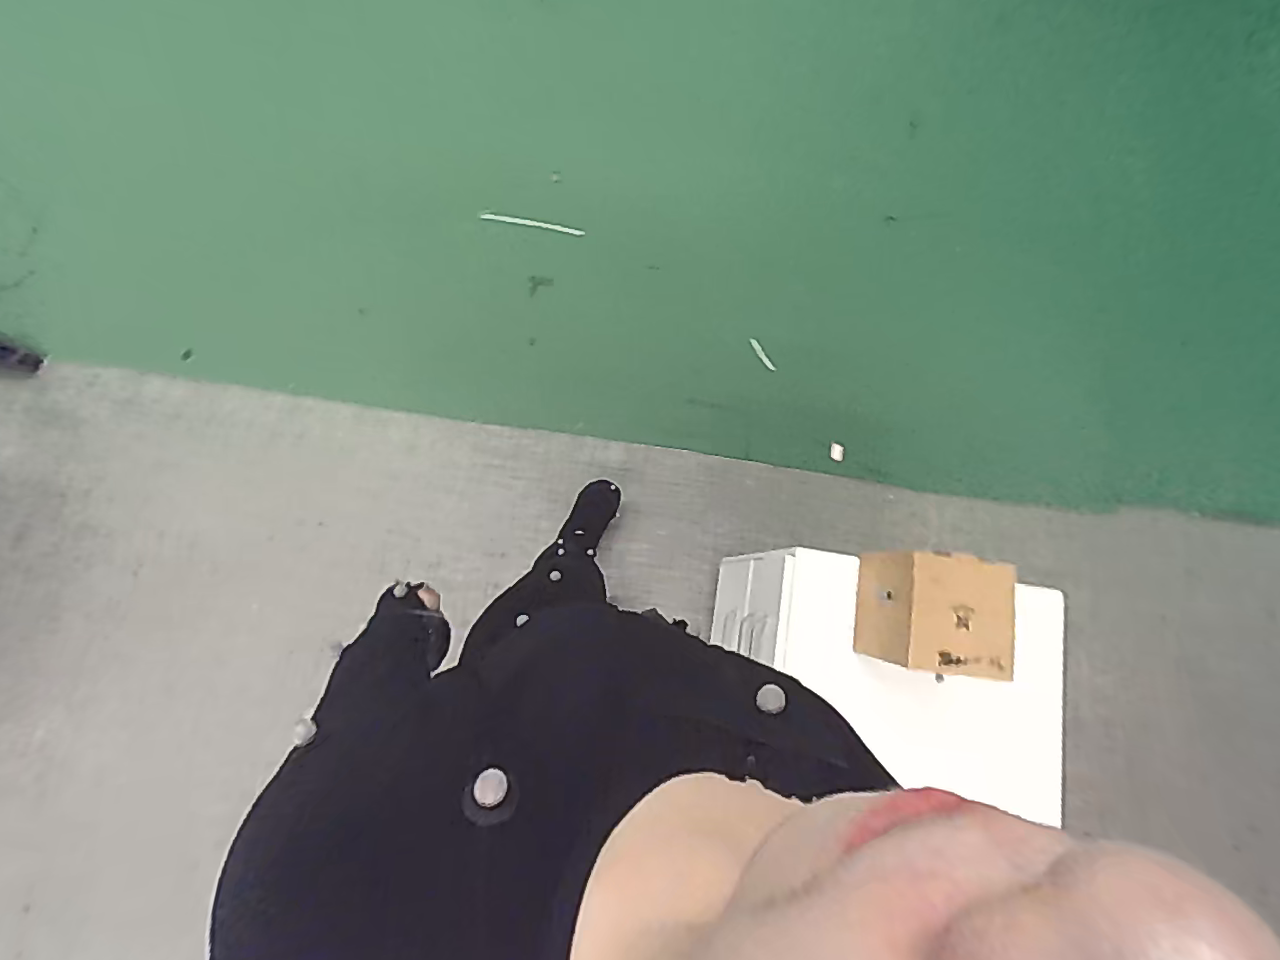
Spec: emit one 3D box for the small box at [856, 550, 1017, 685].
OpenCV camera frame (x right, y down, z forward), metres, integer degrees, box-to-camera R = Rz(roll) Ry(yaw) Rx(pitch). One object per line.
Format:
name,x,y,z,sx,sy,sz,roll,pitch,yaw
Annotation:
small box,0.469,0.215,0.875,0.168,0.176,0.179,9,79,-3
